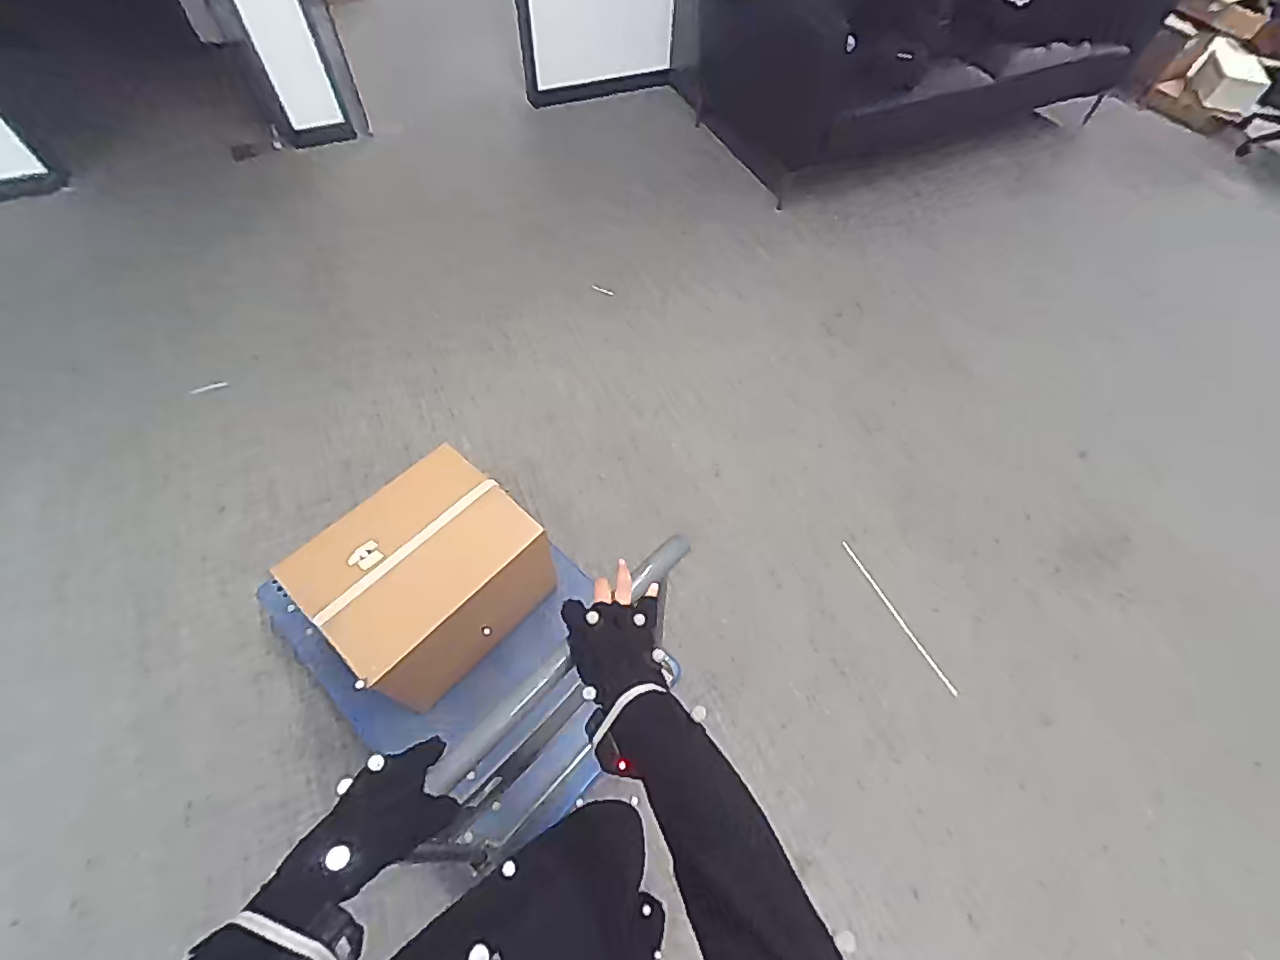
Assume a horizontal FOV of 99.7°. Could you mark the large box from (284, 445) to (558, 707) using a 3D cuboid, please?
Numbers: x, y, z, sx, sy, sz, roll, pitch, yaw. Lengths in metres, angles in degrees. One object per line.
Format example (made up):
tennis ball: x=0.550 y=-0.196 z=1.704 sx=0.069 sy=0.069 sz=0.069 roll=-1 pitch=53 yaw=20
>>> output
large box: x=-0.431 y=0.209 z=1.168 sx=0.320 sy=0.320 sz=0.408 roll=38 pitch=65 yaw=18
